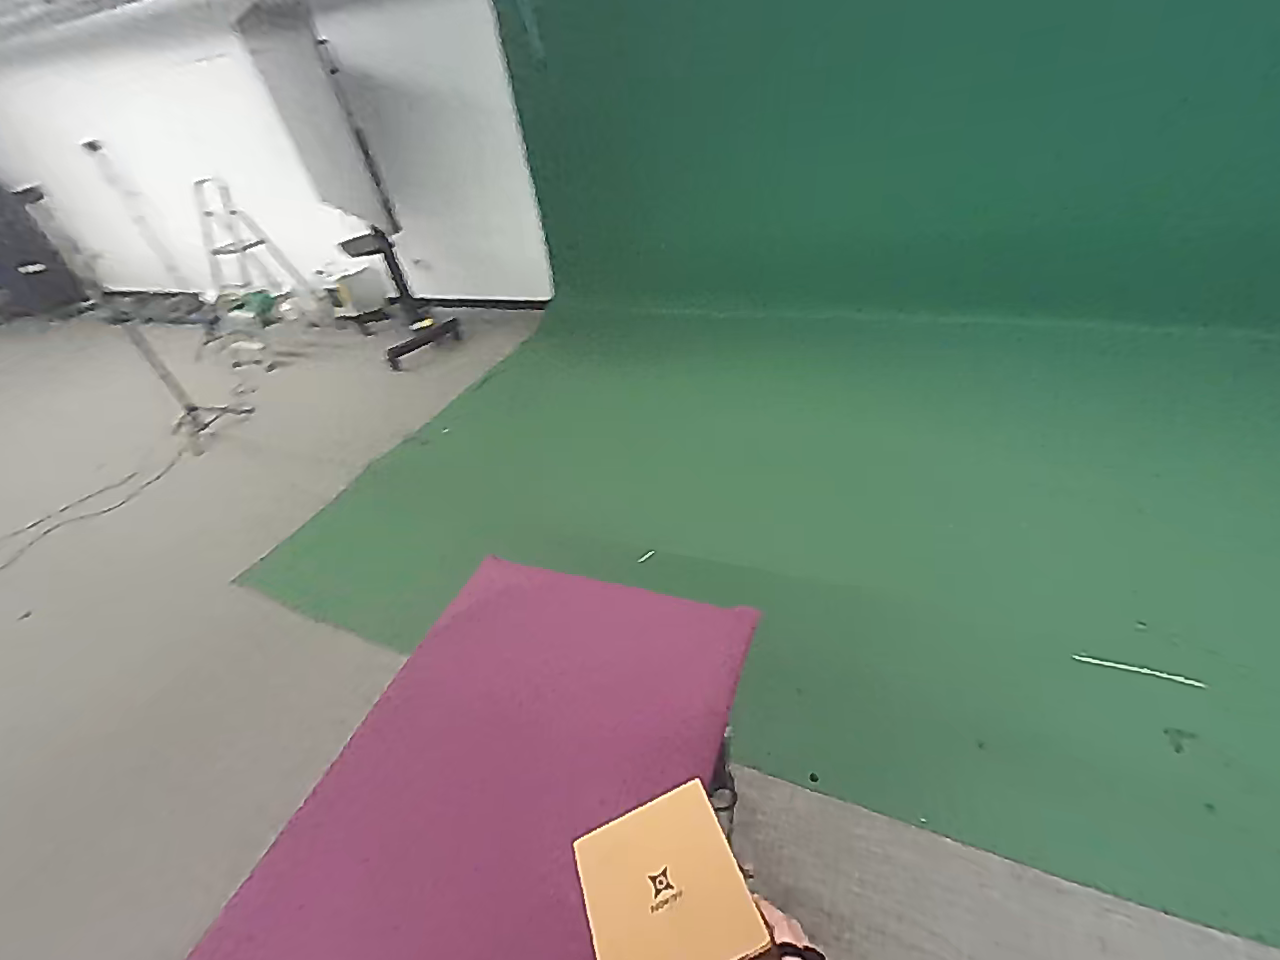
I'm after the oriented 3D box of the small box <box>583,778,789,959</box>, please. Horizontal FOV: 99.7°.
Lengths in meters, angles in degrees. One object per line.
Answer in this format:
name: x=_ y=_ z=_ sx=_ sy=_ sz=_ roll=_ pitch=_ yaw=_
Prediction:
small box: x=0.052 y=0.484 z=0.601 sx=0.168 sy=0.176 sz=0.179 roll=-22 pitch=33 yaw=-8
